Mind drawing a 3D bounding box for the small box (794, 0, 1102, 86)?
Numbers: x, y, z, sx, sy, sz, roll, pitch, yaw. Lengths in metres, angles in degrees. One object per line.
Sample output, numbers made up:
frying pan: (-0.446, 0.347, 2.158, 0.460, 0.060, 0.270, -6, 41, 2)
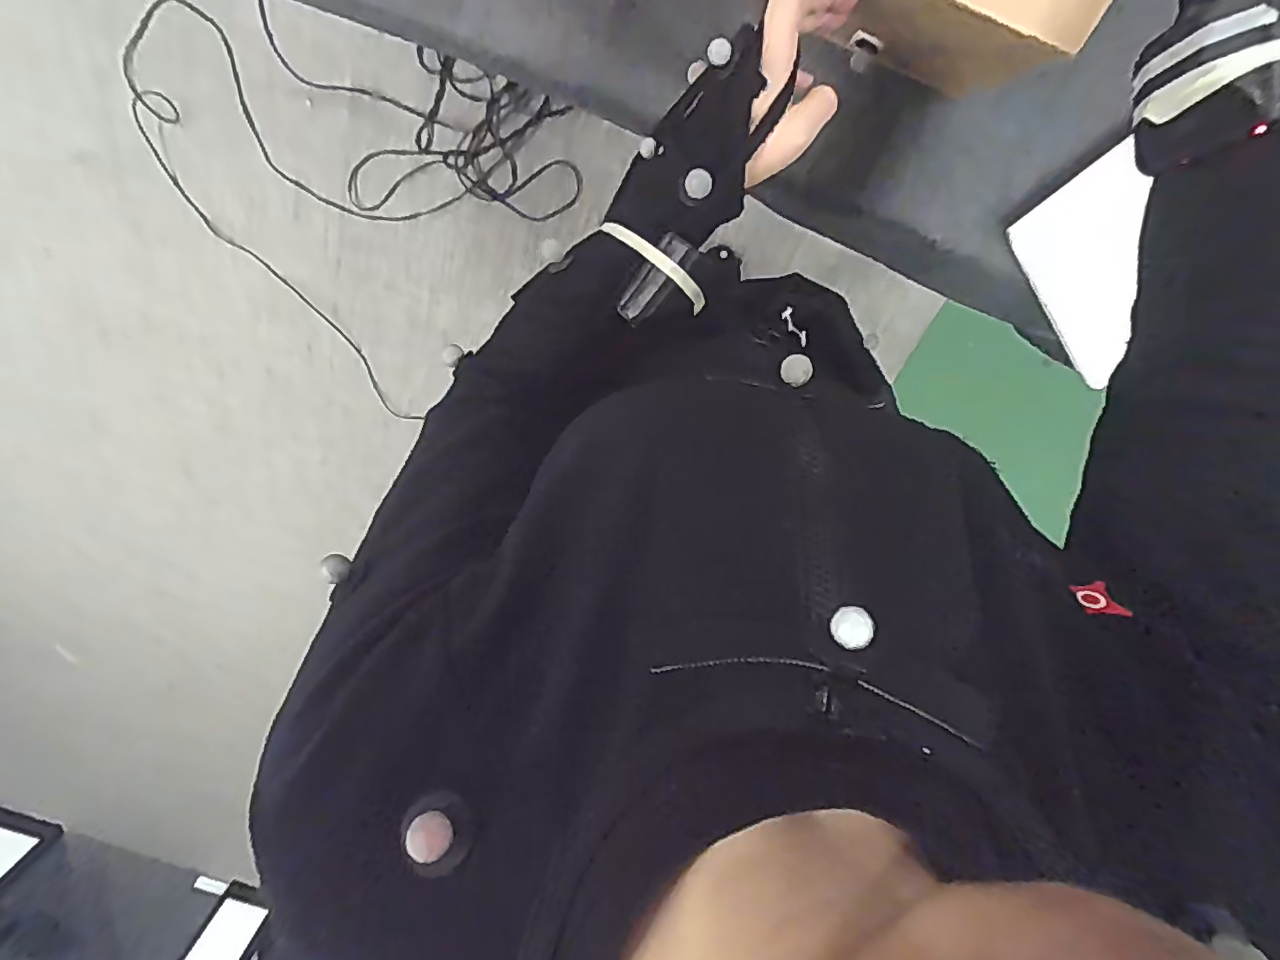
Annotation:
small box: (0.209, -0.381, 0.331, 0.168, 0.176, 0.179, 21, 119, -3)
